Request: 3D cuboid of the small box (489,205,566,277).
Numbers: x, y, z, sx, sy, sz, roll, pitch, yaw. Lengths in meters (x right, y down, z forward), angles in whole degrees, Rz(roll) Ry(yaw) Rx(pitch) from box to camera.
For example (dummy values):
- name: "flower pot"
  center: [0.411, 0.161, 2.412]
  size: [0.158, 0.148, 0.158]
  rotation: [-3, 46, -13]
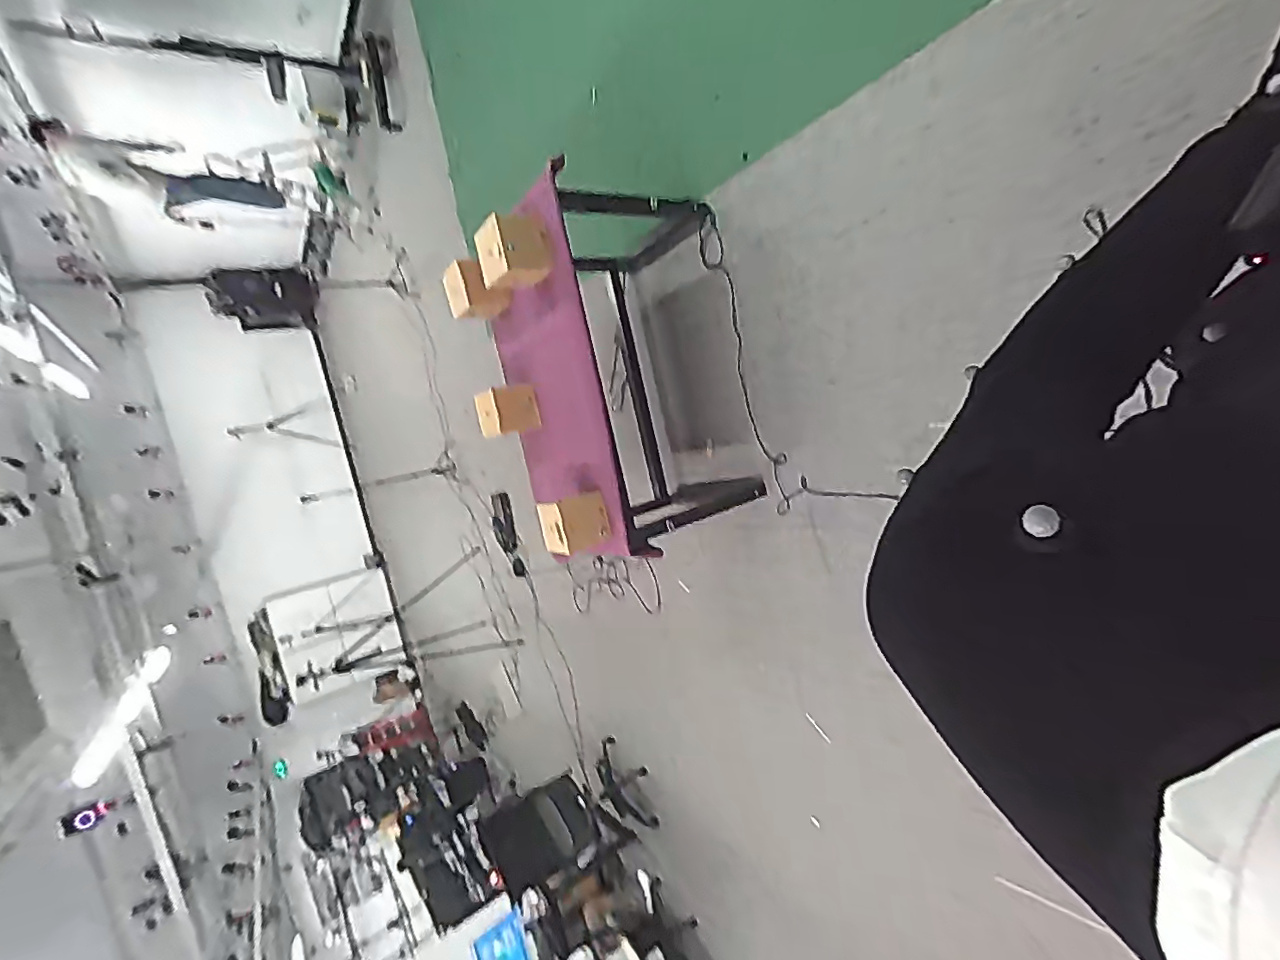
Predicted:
- name: "small box"
  center: [-0.359, -0.761, 1.733]
  size: [0.179, 0.176, 0.168]
  rotation: [-2, 104, 55]

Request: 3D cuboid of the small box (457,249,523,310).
- name: "small box"
  center: [-0.561, -0.750, 2.025]
  size: [0.179, 0.176, 0.168]
  rotation: [-6, 102, 55]

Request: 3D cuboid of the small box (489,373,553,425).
- name: "small box"
  center: [-0.454, -0.309, 2.073]
  size: [0.179, 0.176, 0.168]
  rotation: [-2, 102, 53]

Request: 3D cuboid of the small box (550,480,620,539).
- name: "small box"
  center: [-0.181, 0.097, 1.853]
  size: [0.179, 0.176, 0.168]
  rotation: [-3, 101, 57]
